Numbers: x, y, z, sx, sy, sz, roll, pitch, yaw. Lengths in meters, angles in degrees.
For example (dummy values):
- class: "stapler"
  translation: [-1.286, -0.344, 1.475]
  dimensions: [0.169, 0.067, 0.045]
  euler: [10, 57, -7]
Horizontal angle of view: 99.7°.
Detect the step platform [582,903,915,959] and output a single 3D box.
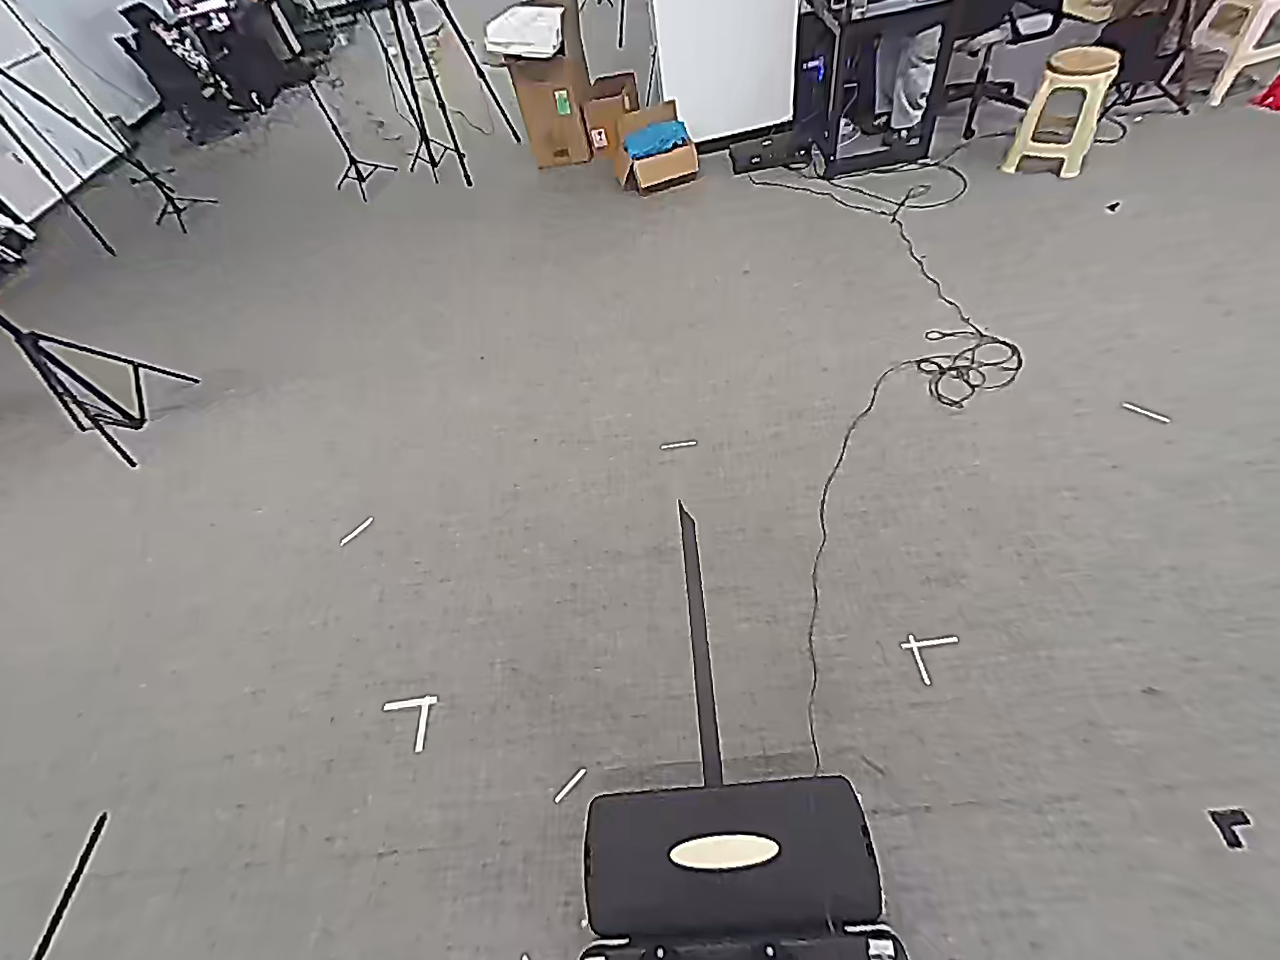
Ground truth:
- class: "step platform"
  translation: [0.218, 1.051, 1.085]
  dimensions: [0.684, 0.204, 0.286]
  euler: [-10, 51, 7]
